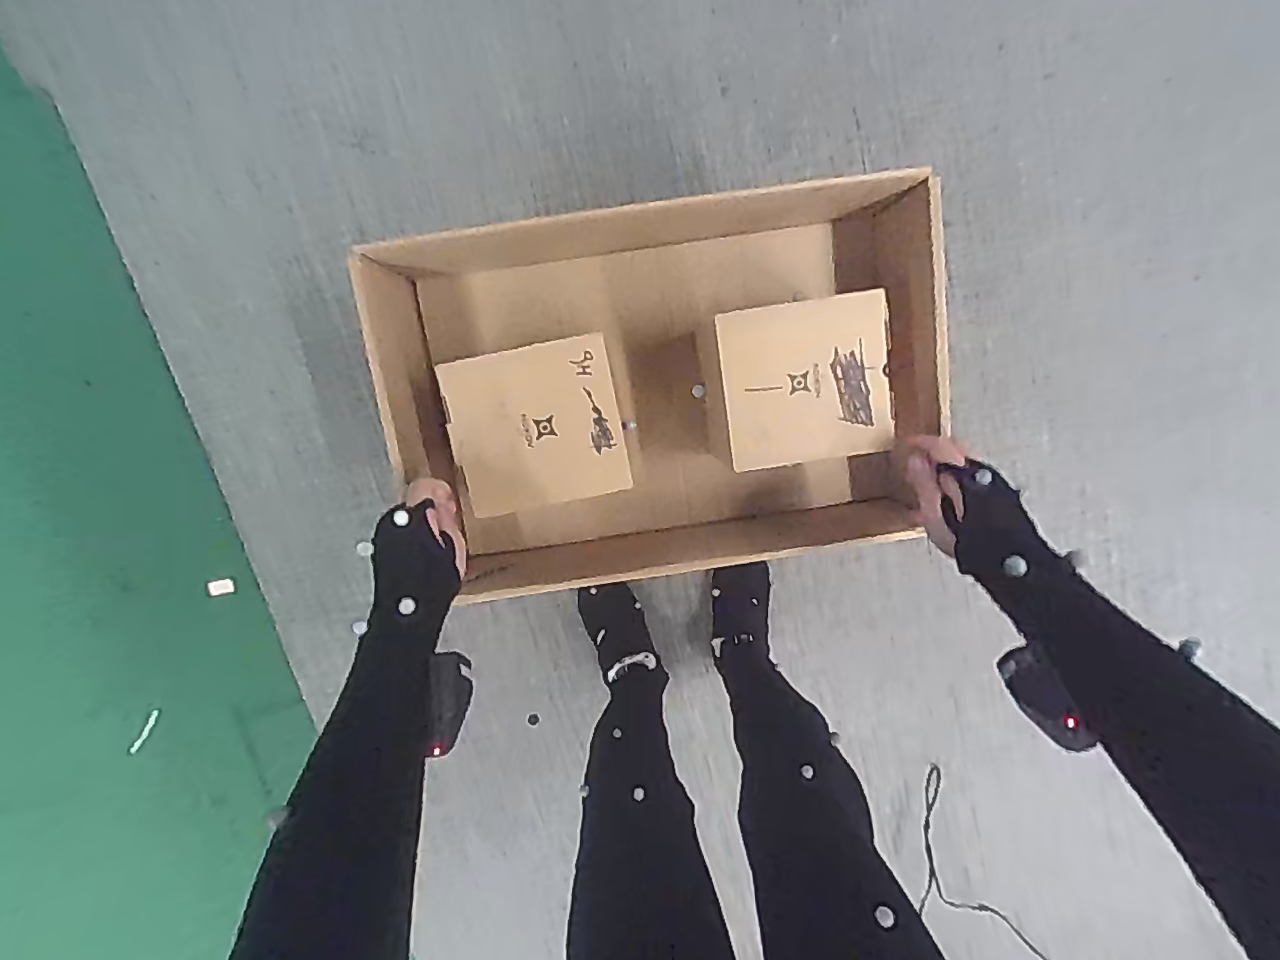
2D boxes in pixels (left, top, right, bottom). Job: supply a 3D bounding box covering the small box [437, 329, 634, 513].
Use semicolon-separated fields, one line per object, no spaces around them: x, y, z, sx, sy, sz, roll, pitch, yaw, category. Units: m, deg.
-0.105;-0.070;0.627;0.179;0.176;0.168;-10;100;1;small box
